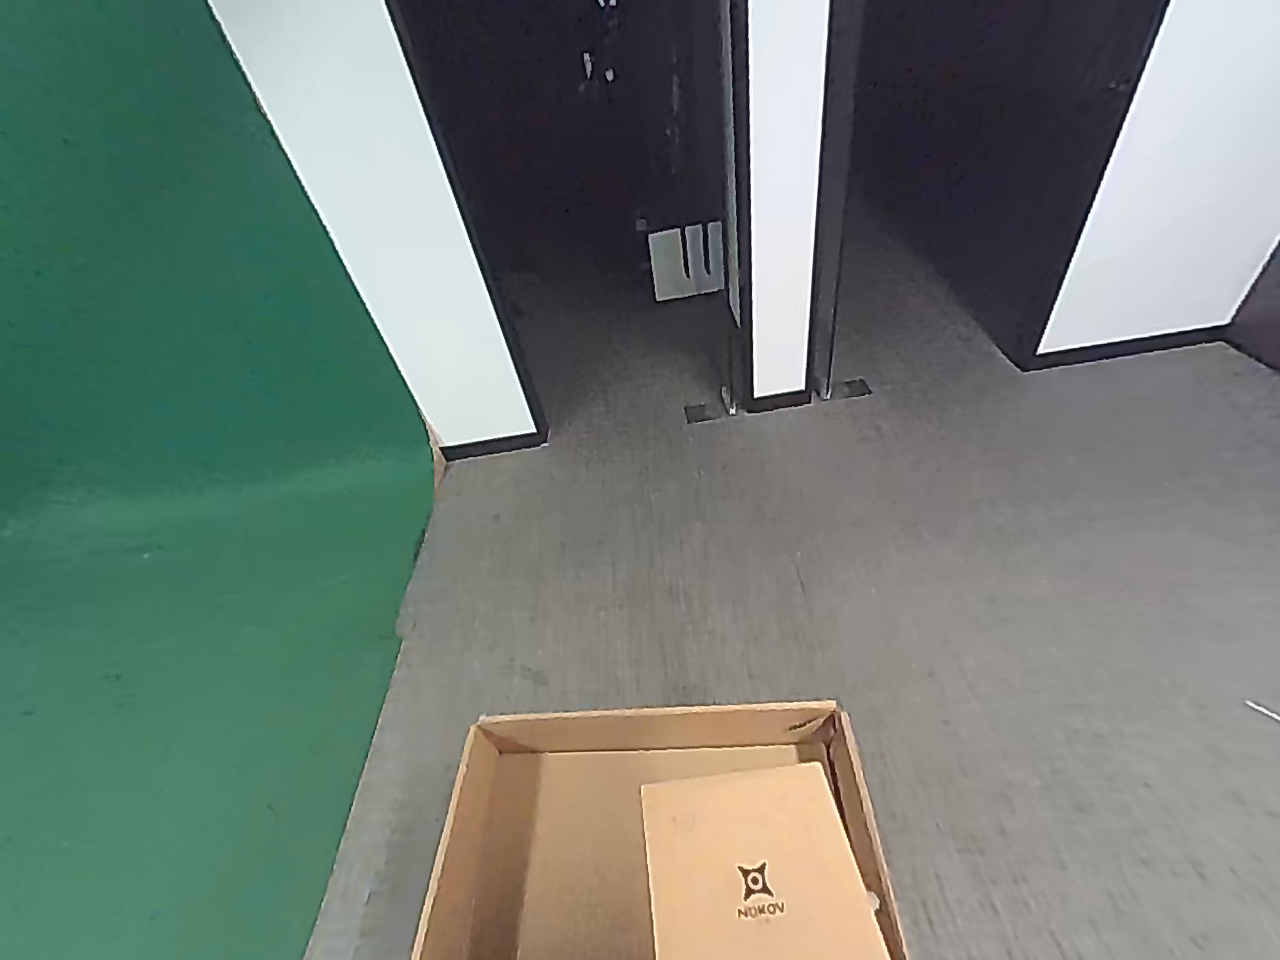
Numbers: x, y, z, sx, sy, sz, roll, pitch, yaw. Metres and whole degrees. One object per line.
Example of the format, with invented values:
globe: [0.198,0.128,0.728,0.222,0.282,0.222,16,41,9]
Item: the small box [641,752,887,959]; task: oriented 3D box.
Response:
small box: [0.093,0.374,0.475,0.168,0.176,0.179,-7,37,-2]
